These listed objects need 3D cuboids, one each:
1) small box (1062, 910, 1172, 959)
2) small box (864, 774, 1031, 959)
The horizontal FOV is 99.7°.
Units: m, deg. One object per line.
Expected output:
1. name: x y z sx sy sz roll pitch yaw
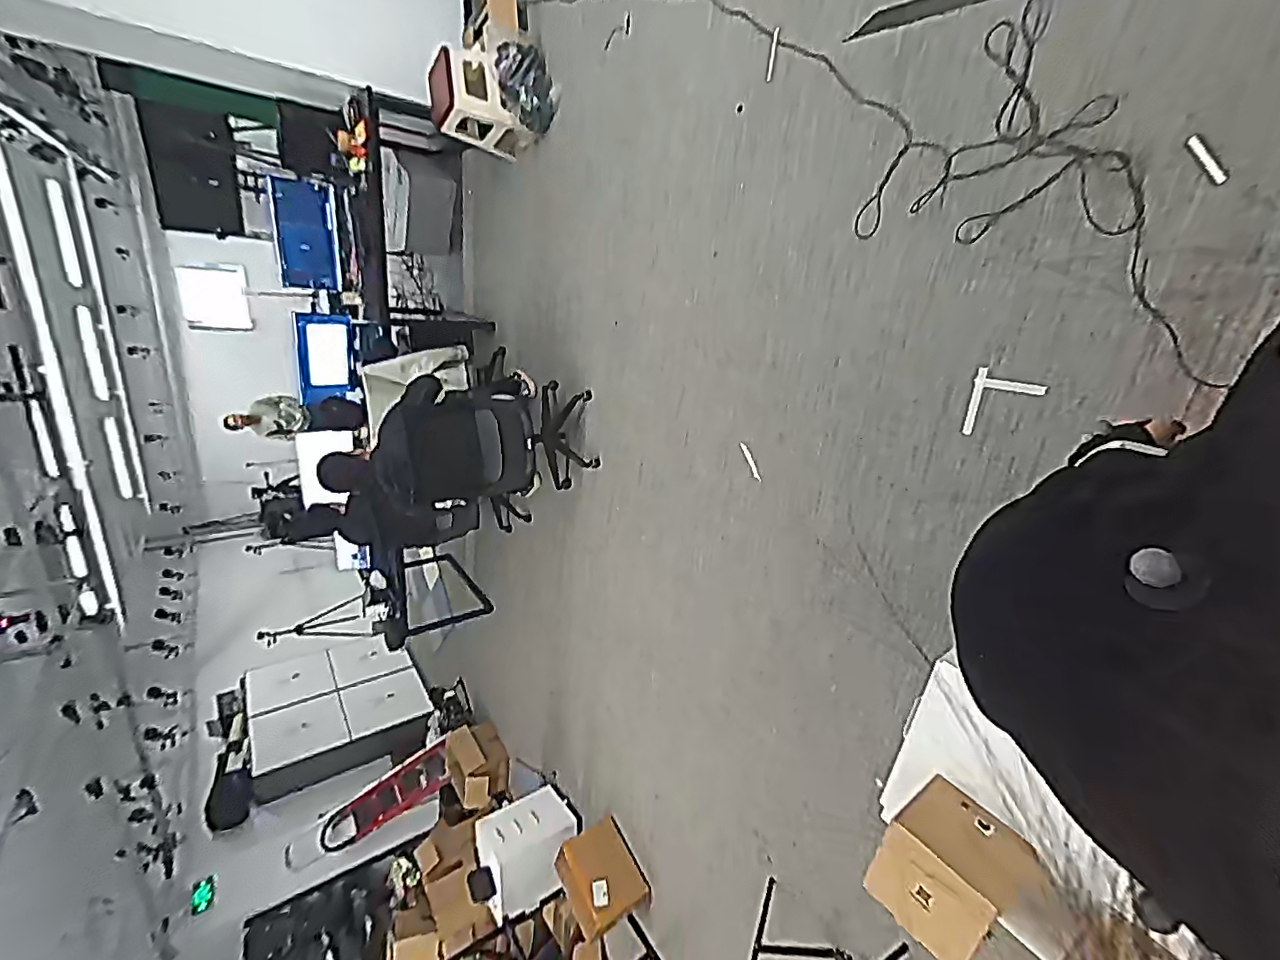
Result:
1. small box: 0.655 0.737 0.720 0.168 0.176 0.179 34 124 46
2. small box: 0.511 0.642 0.901 0.168 0.176 0.179 31 120 45
